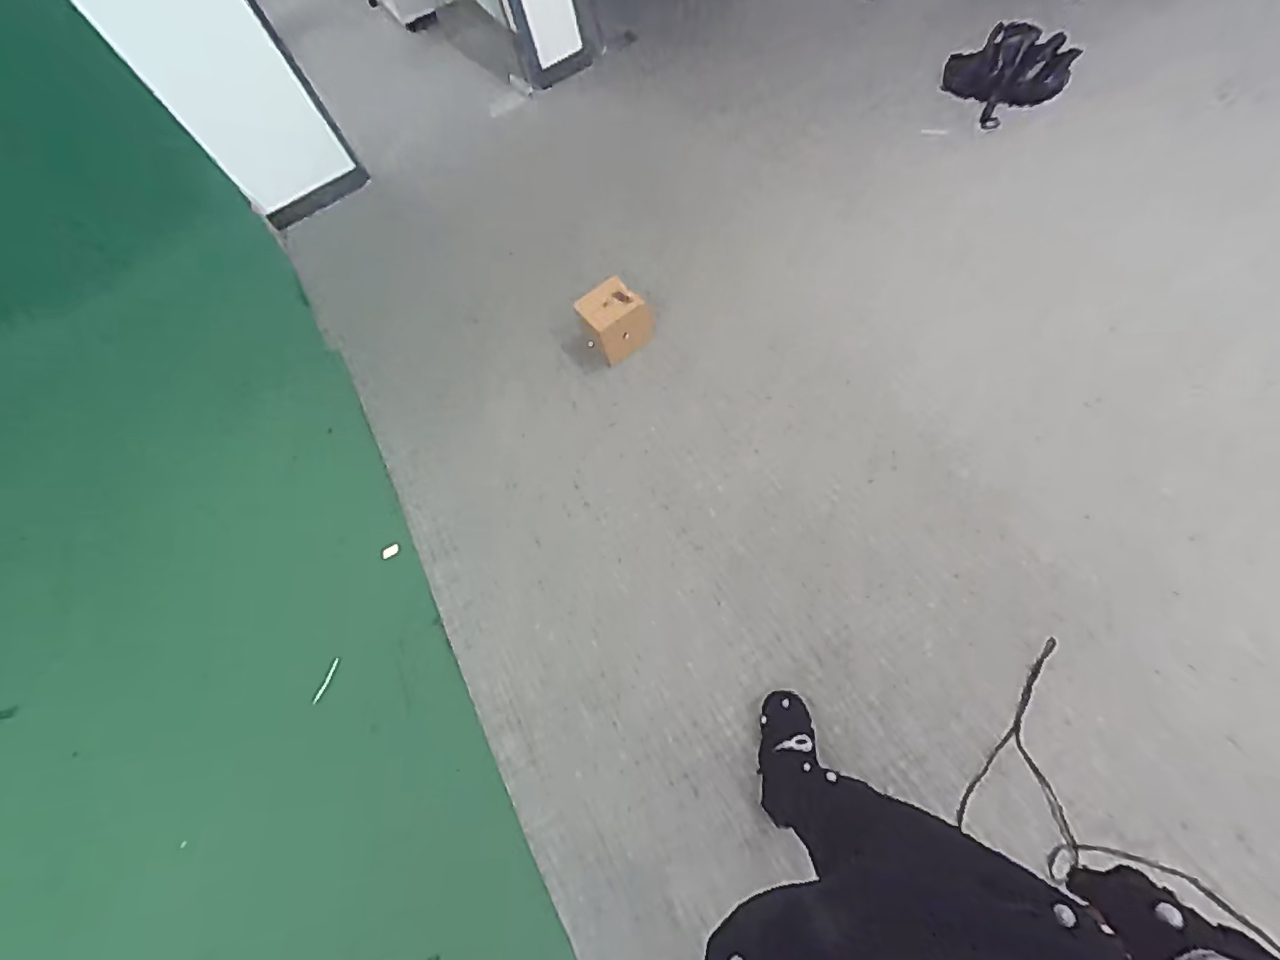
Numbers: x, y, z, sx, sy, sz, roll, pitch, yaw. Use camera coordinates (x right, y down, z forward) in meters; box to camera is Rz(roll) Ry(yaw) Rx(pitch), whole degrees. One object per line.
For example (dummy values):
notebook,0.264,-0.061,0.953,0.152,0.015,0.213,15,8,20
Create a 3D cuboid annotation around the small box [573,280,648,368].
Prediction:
small box,-0.088,-0.502,1.752,0.179,0.176,0.168,-39,63,-11
